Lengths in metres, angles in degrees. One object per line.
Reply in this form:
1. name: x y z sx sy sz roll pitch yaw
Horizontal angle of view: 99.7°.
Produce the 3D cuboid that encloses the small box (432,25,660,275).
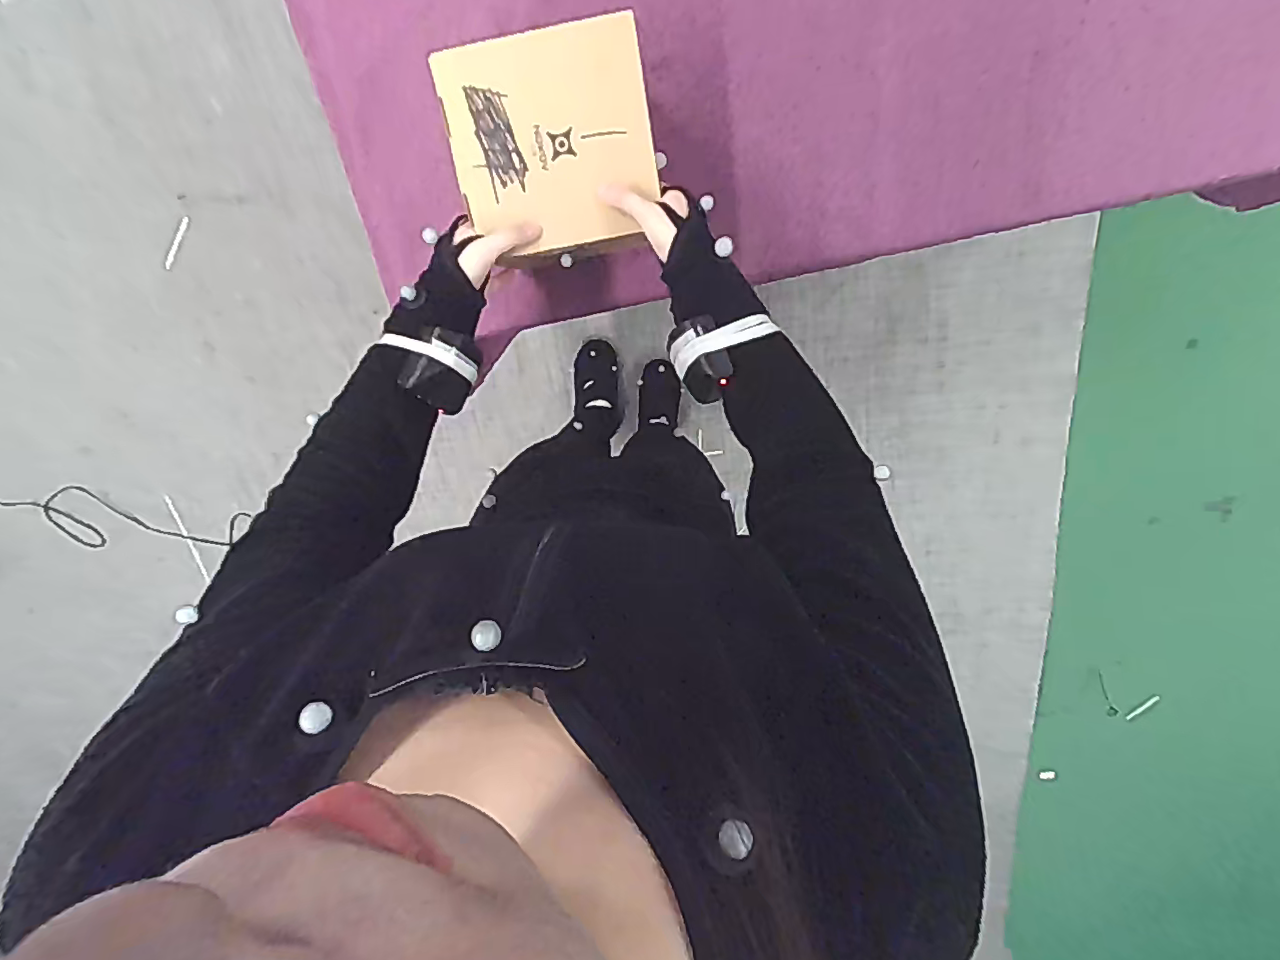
1. small box: -0.077 -0.311 0.551 0.179 0.176 0.168 -10 108 4
